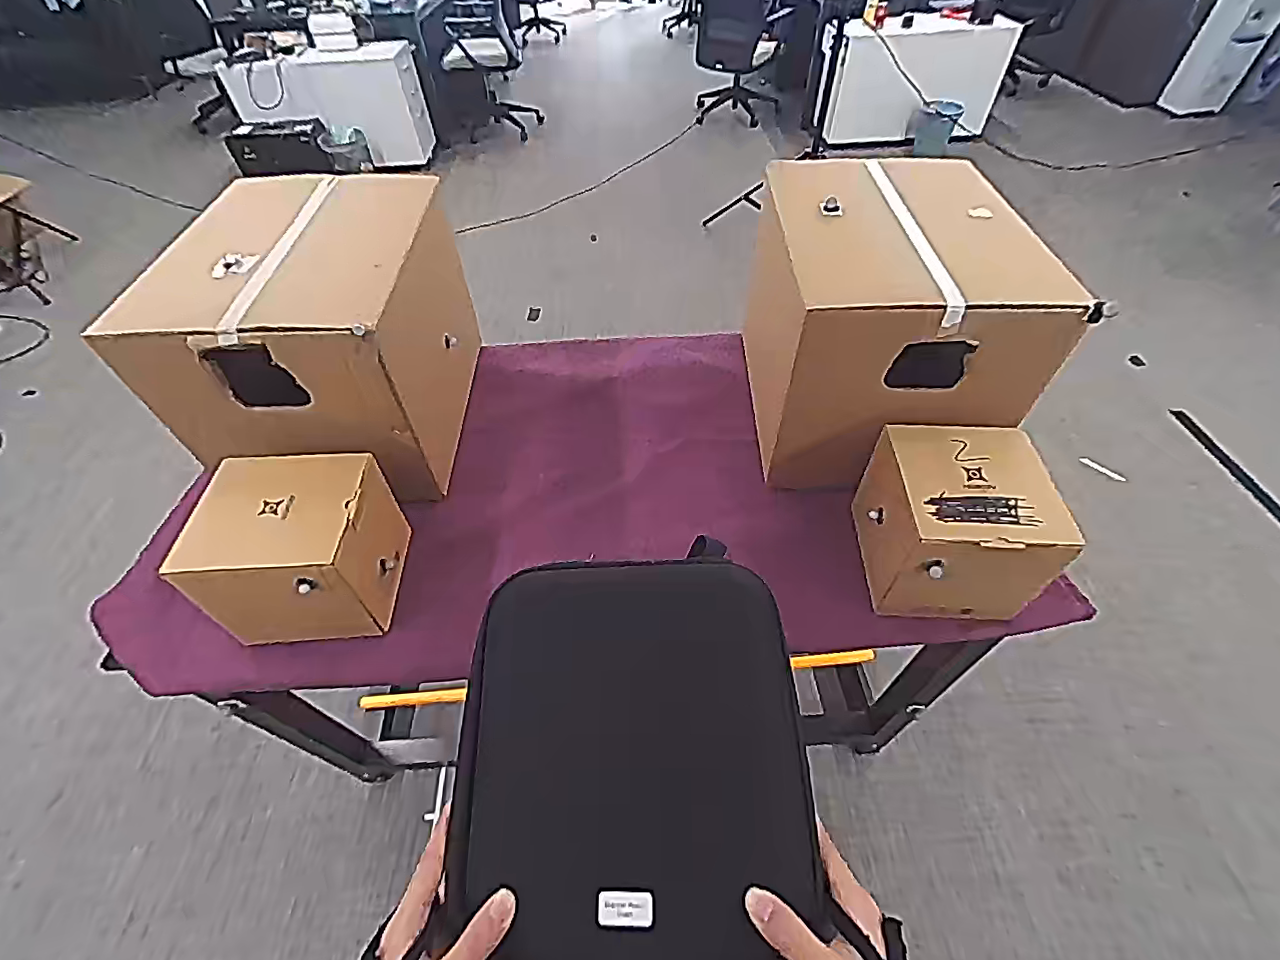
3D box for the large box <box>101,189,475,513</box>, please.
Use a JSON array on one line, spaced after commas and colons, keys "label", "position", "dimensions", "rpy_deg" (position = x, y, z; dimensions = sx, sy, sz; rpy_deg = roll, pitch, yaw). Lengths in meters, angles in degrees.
[{"label": "large box", "position": [-0.461, -0.202, 0.840], "dimensions": [0.320, 0.320, 0.408], "rpy_deg": [-3, 52, -2]}]
